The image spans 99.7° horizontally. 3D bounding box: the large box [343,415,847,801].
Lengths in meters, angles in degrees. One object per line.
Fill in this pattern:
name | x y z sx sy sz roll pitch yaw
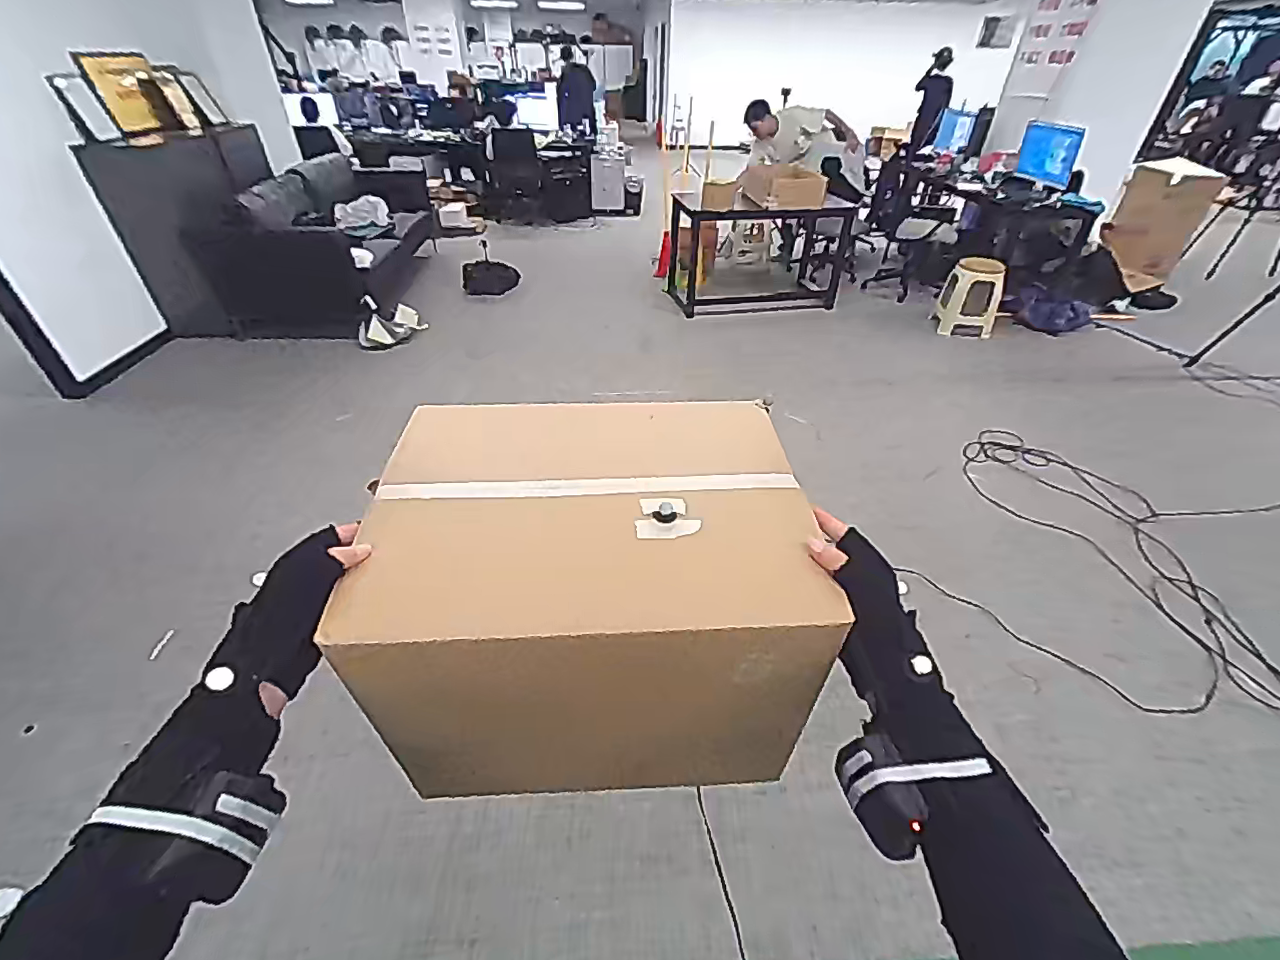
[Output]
large box | -0.045 0.137 0.627 0.408 0.320 0.320 -1 41 -4
